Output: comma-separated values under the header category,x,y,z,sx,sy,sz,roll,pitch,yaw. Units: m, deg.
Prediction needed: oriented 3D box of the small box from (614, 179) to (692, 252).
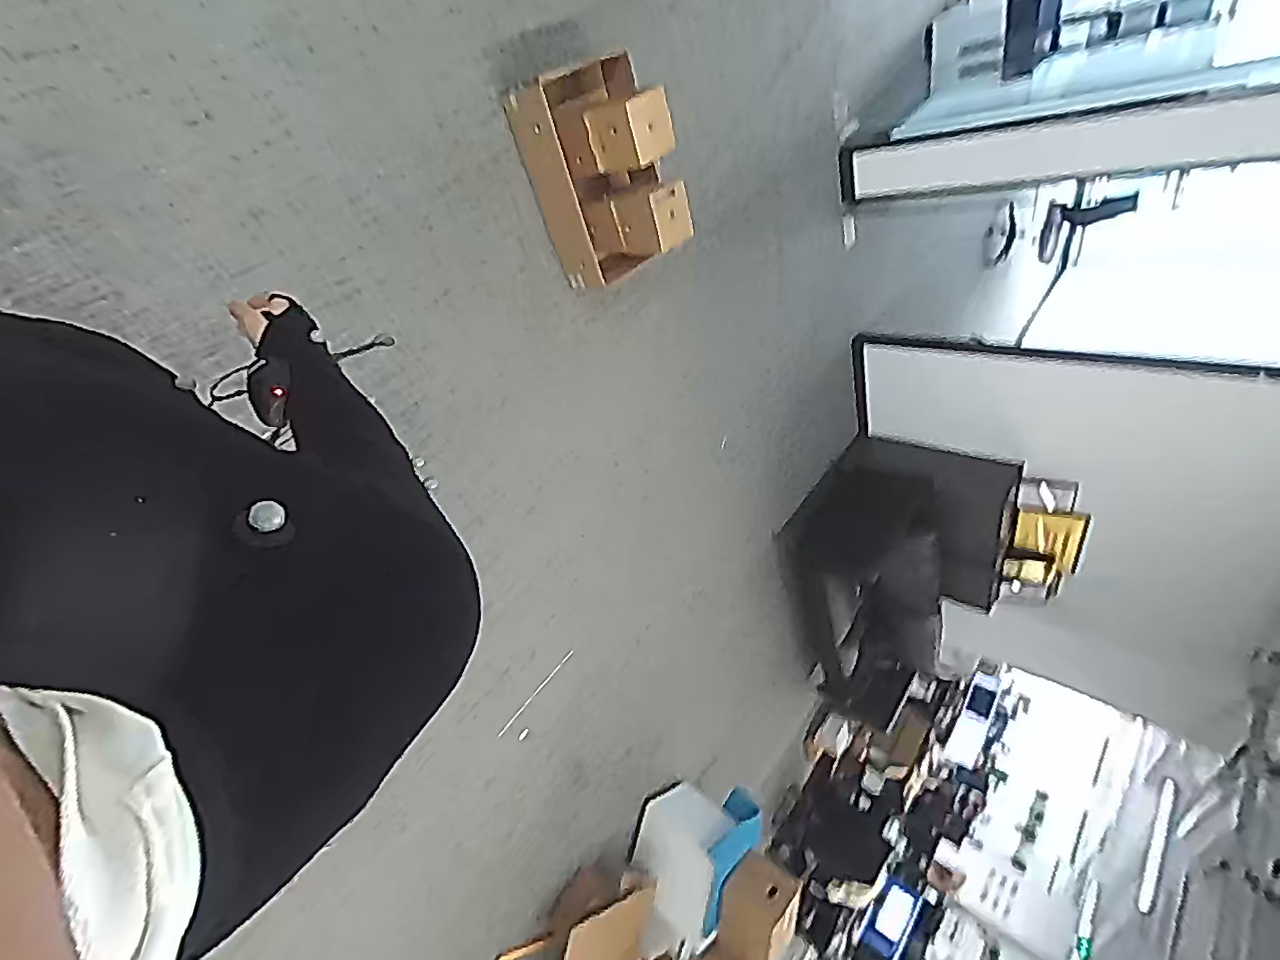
category,x,y,z,sx,sy,sz,roll,pitch,yaw
small box,0.043,-0.865,1.775,0.168,0.176,0.179,-41,131,-29

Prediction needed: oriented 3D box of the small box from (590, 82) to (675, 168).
category,x,y,z,sx,sy,sz,roll,pitch,yaw
small box,-0.028,-1.062,1.627,0.179,0.176,0.168,-46,136,-26
